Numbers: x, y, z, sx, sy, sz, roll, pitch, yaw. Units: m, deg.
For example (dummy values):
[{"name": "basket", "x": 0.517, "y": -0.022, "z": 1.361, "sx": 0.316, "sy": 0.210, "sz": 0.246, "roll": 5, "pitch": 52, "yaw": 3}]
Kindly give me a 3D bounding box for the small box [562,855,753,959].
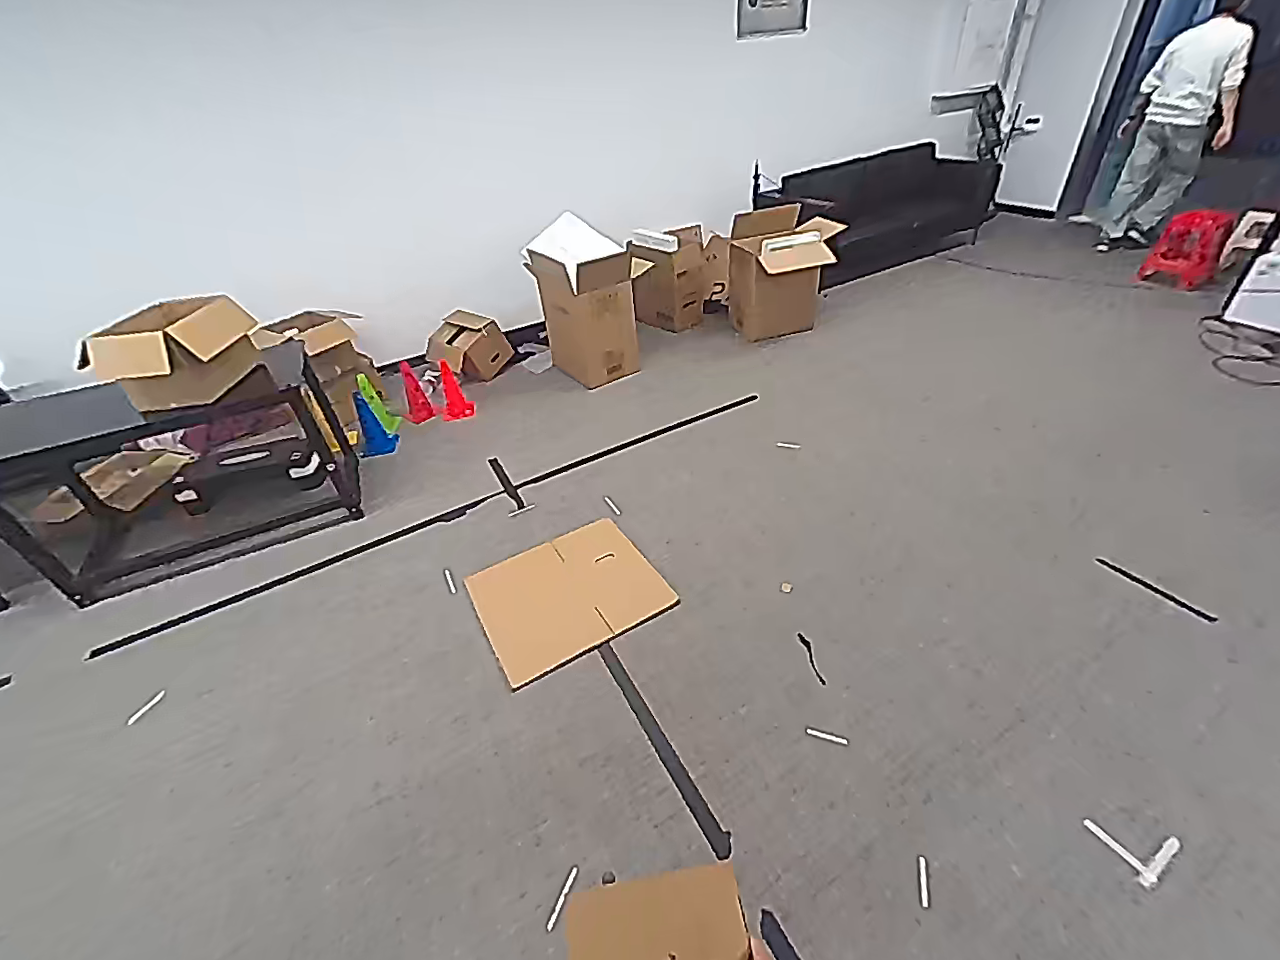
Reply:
[{"name": "small box", "x": 0.020, "y": 0.513, "z": 0.550, "sx": 0.179, "sy": 0.176, "sz": 0.168, "roll": -6, "pitch": 43, "yaw": -7}]
